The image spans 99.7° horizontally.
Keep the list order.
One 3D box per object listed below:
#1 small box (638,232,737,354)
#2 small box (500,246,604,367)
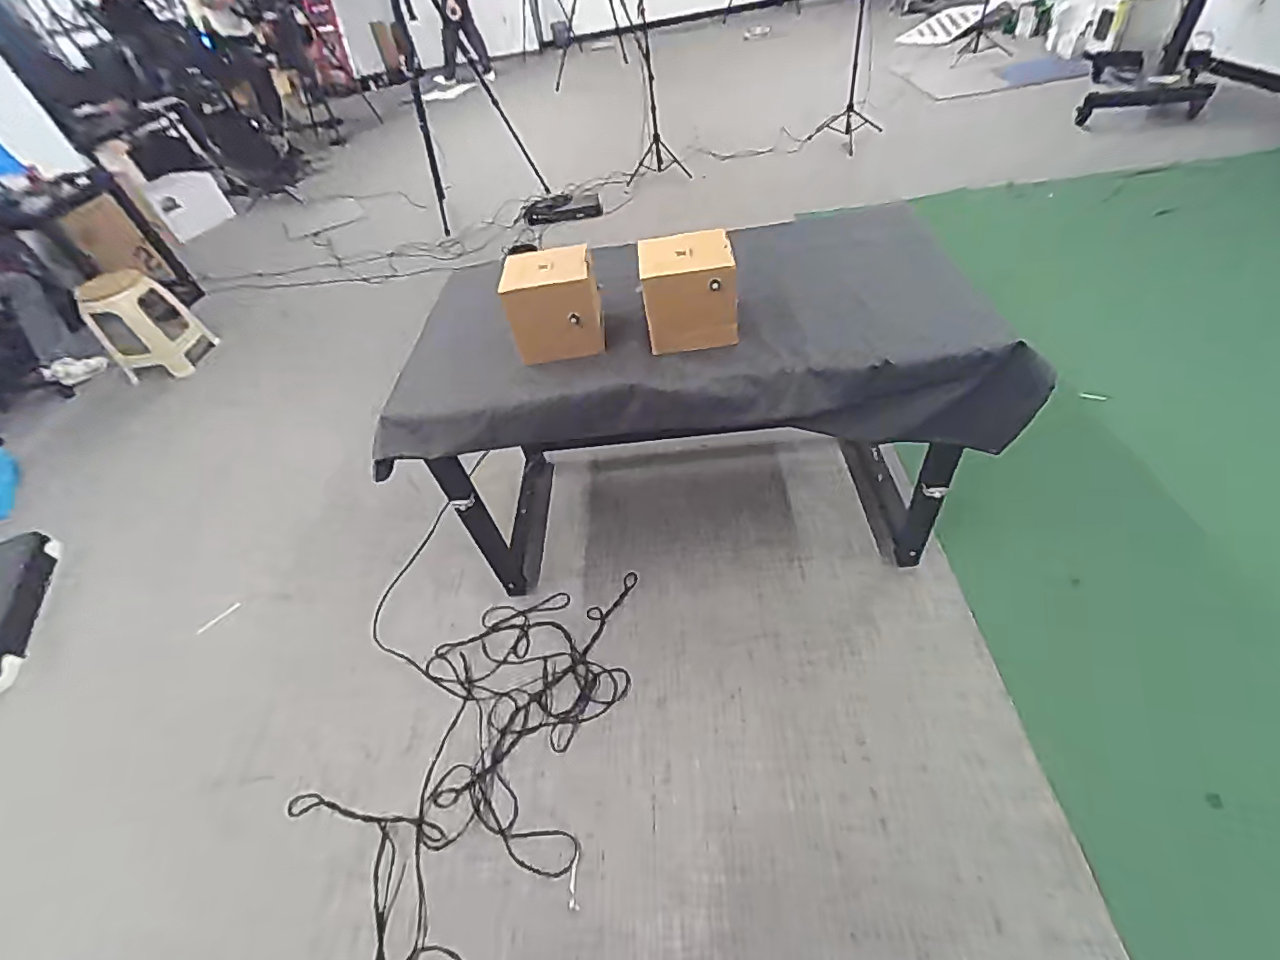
[{"bbox_3d":[0.095,-0.369,1.082,0.179,0.176,0.168,-7,46,5],"label":"small box"},{"bbox_3d":[-0.172,-0.357,1.124,0.179,0.176,0.168,-9,45,4],"label":"small box"}]
